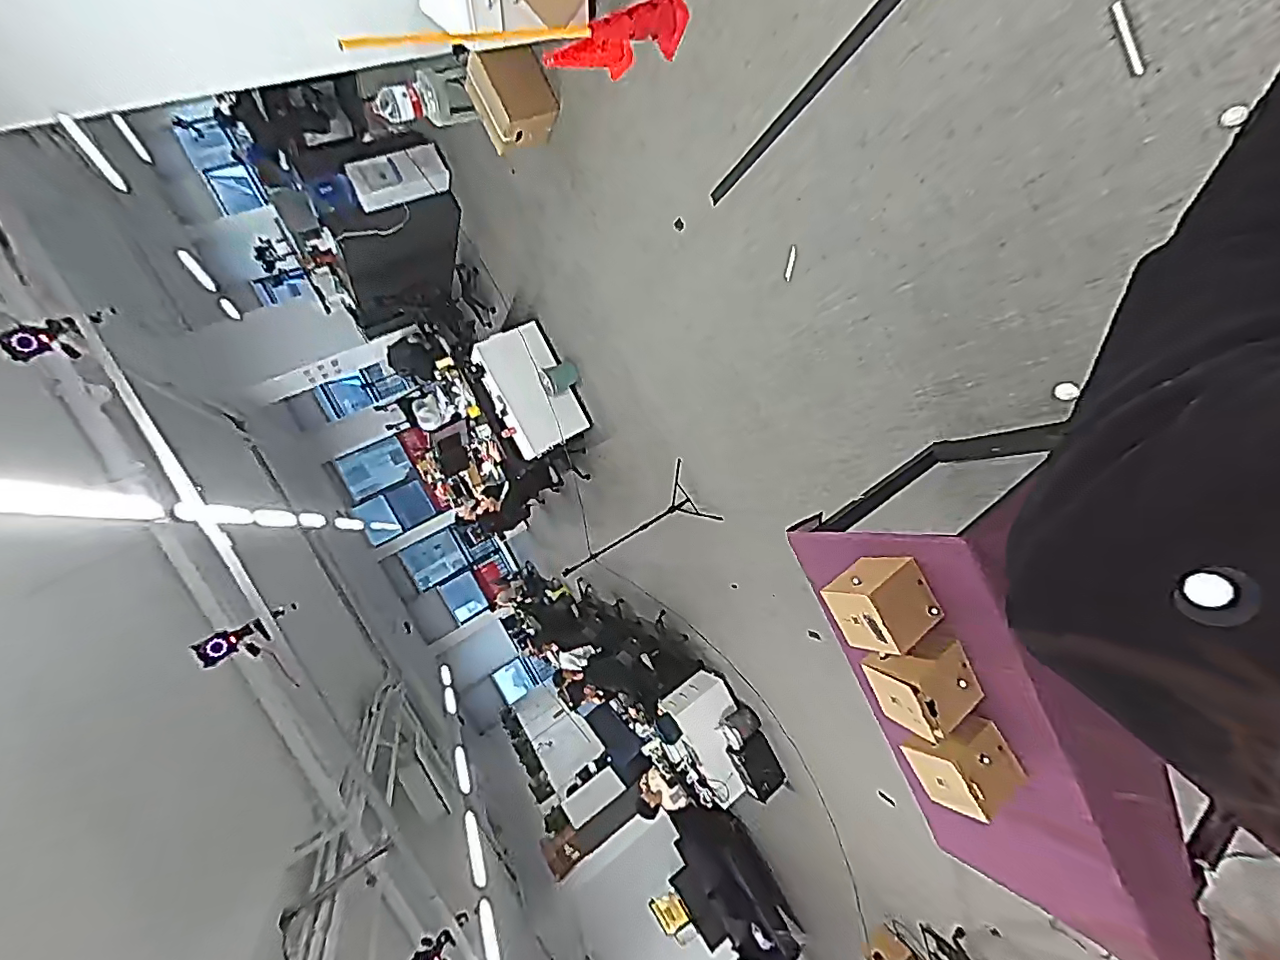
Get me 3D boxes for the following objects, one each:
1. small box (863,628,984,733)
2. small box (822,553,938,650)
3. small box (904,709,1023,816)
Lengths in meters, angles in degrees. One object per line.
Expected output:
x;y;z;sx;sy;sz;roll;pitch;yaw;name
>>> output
0.707;0.484;1.350;0.168;0.176;0.179;62;158;-8;small box
0.599;0.293;1.337;0.168;0.176;0.179;60;160;-2;small box
0.826;0.699;1.374;0.168;0.176;0.179;59;159;2;small box
